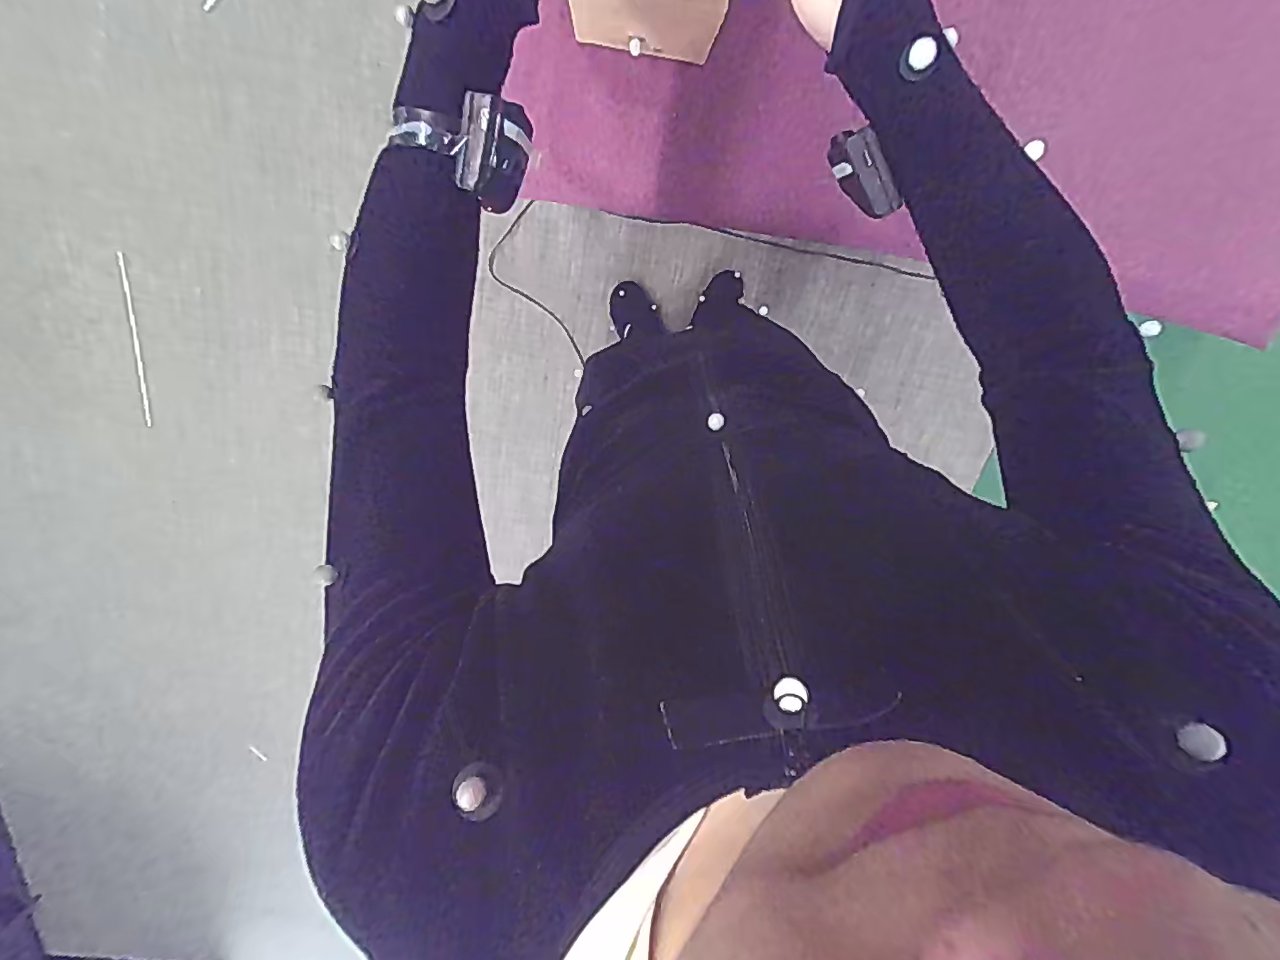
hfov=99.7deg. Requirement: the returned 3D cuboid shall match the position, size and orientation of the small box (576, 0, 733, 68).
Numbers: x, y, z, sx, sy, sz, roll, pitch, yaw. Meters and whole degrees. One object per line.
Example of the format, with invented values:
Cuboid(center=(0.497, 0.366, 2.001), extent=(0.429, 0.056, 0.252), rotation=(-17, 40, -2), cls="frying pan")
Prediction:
Cuboid(center=(0.020, -0.583, 0.576), extent=(0.168, 0.176, 0.179), rotation=(7, 112, -5), cls="small box")
